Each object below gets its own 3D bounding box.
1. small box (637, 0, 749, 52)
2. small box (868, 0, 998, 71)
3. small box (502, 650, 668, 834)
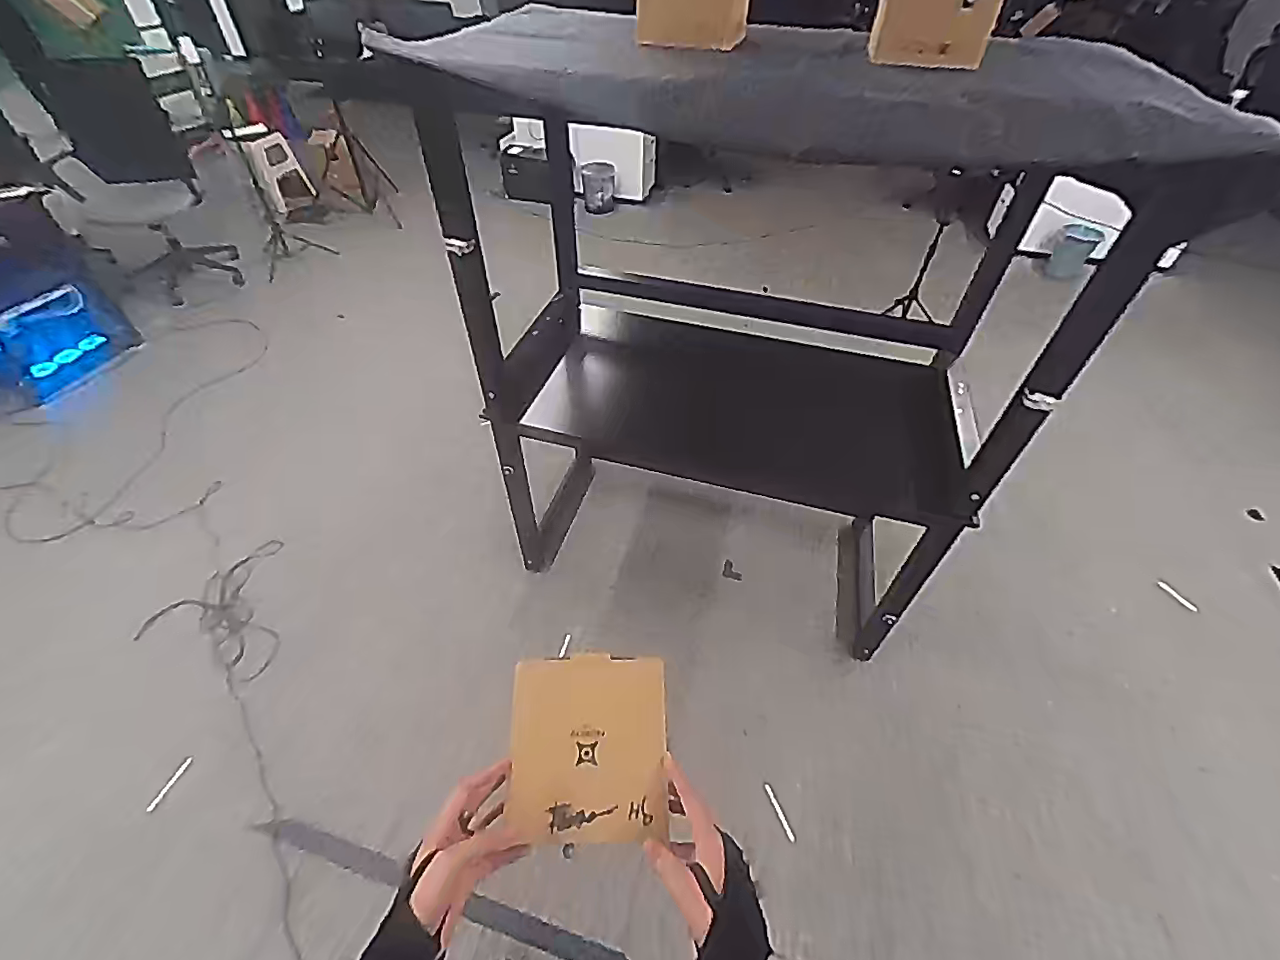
[{"bbox_3d":[0.101,-0.880,0.958,0.179,0.176,0.168,13,48,11],"label":"small box"},{"bbox_3d":[0.486,-0.793,0.885,0.168,0.176,0.179,12,48,9],"label":"small box"},{"bbox_3d":[-0.057,0.304,0.637,0.168,0.176,0.179,0,64,-2],"label":"small box"}]
